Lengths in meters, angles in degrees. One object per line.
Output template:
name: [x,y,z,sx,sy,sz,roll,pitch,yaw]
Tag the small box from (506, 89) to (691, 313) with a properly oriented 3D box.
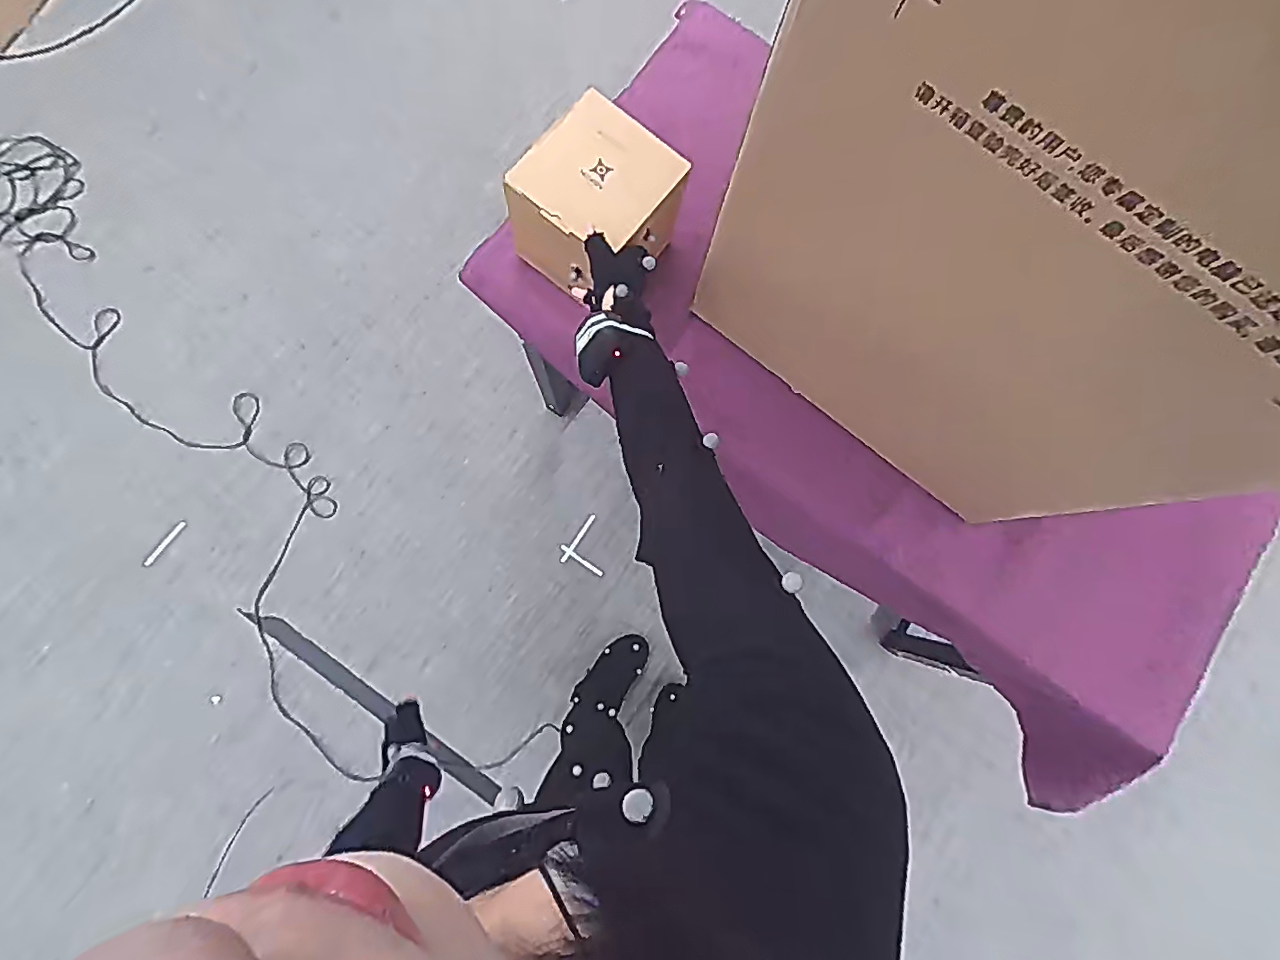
small box: [-0.056,-0.366,0.744,0.168,0.176,0.179,38,78,0]
